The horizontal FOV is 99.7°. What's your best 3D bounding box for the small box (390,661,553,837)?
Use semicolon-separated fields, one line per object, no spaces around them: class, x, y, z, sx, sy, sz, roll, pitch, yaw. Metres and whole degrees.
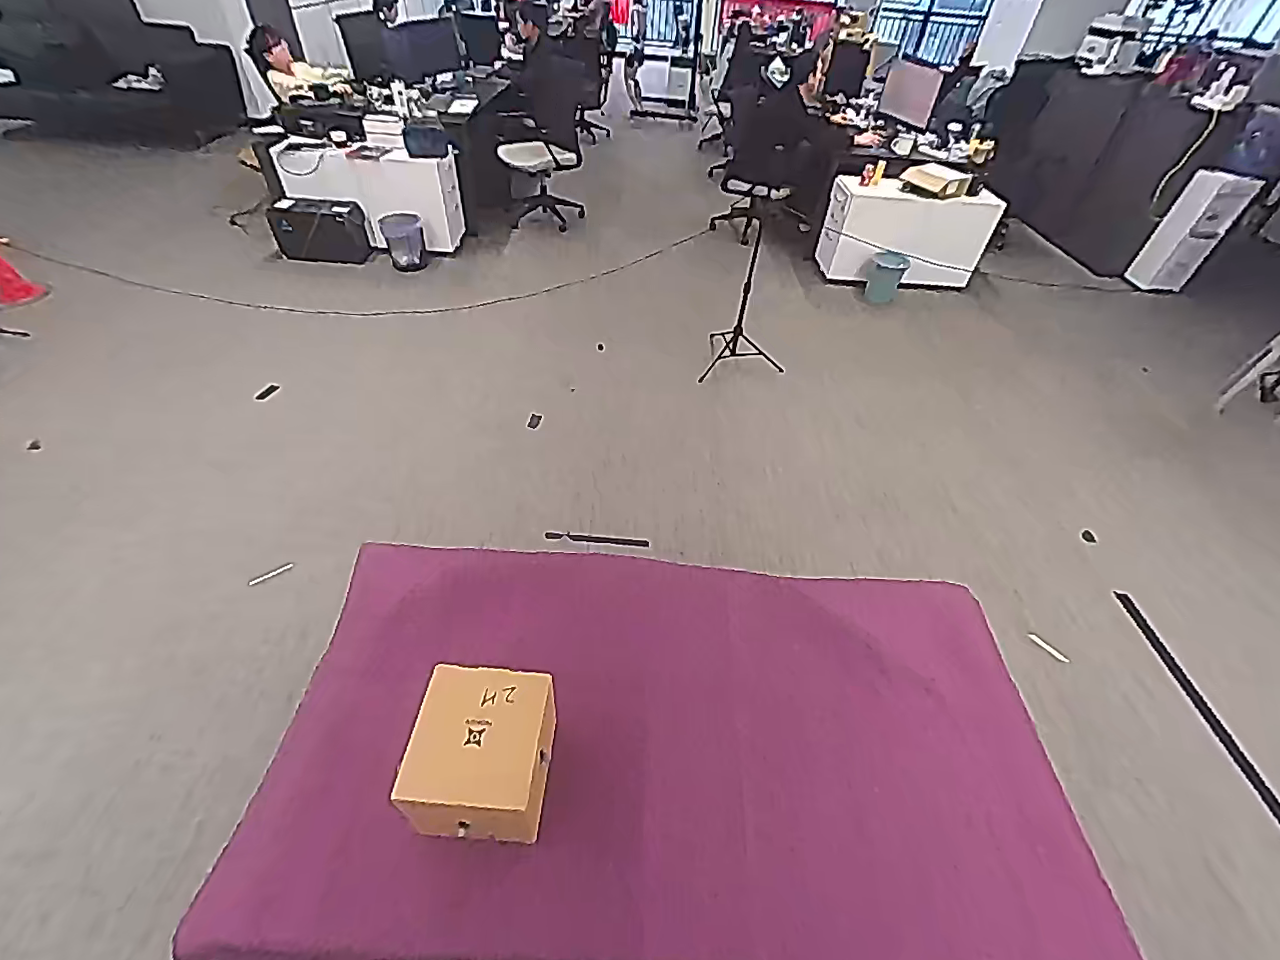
small box;-0.219;0.381;0.761;0.168;0.176;0.179;6;45;0
